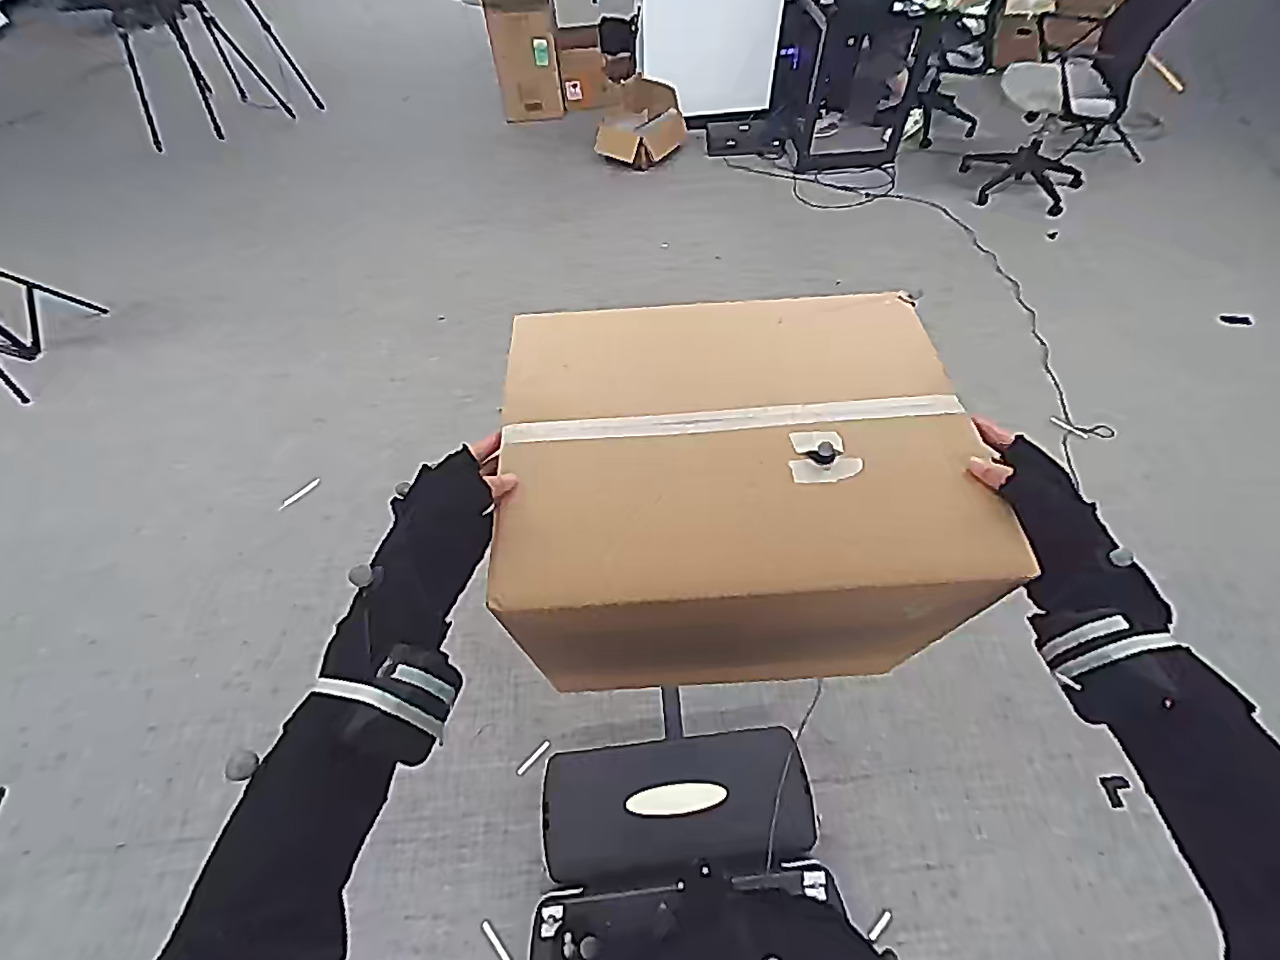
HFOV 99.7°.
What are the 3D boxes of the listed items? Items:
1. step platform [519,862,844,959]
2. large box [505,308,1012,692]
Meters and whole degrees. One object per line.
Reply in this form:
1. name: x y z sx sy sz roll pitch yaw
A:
1. step platform: 0.086 1.035 1.166 0.684 0.204 0.286 -7 55 -1
2. large box: 0.084 0.038 0.617 0.408 0.320 0.320 -3 58 -1
